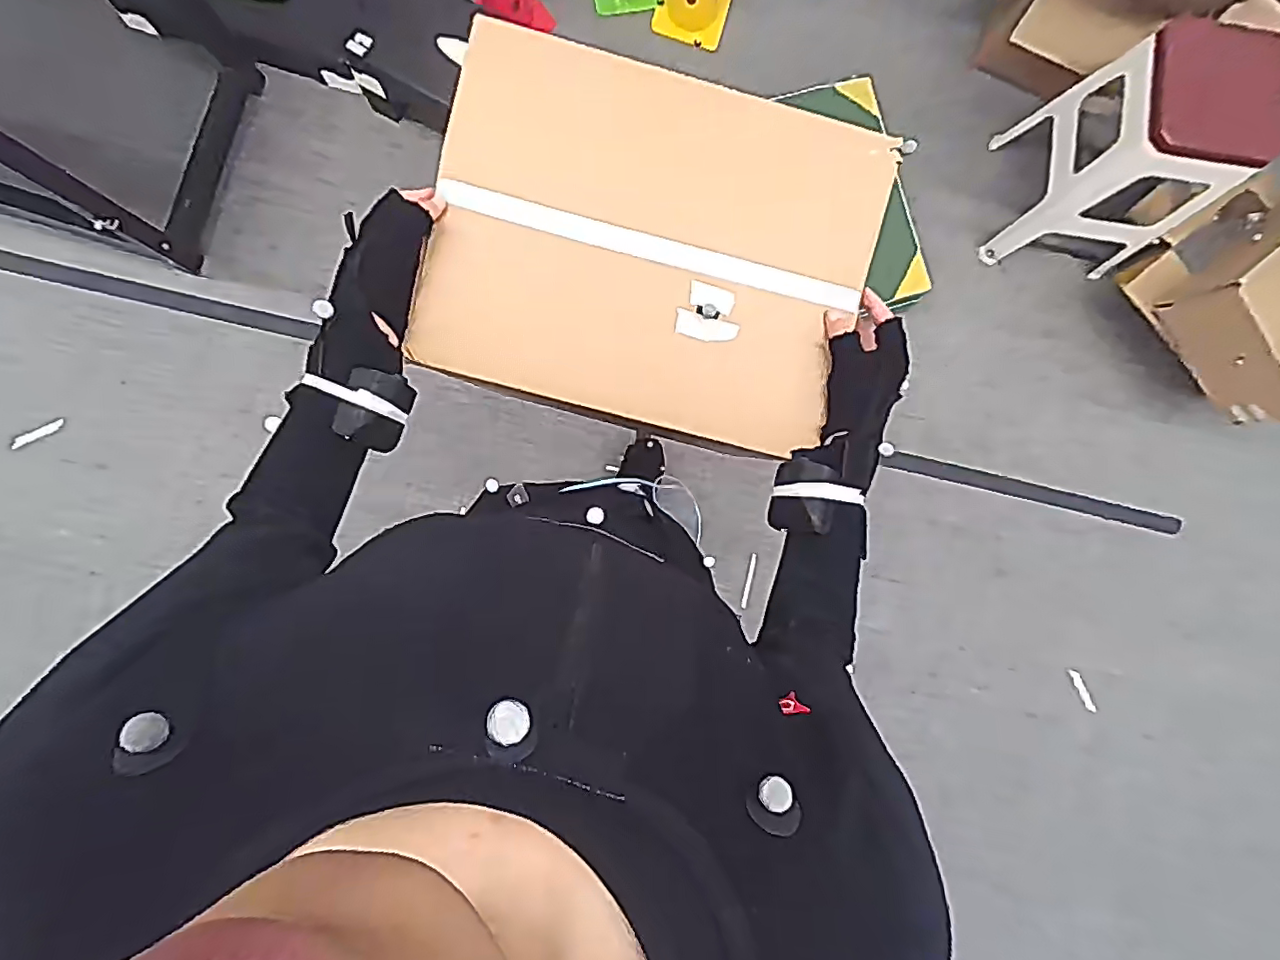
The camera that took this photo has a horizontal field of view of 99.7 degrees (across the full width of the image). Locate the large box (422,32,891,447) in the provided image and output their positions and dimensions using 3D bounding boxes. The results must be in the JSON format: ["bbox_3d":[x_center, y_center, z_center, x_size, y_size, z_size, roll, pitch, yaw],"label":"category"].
[{"bbox_3d":[0.008,-0.235,0.667,0.408,0.320,0.320,14,95,-3],"label":"large box"}]
